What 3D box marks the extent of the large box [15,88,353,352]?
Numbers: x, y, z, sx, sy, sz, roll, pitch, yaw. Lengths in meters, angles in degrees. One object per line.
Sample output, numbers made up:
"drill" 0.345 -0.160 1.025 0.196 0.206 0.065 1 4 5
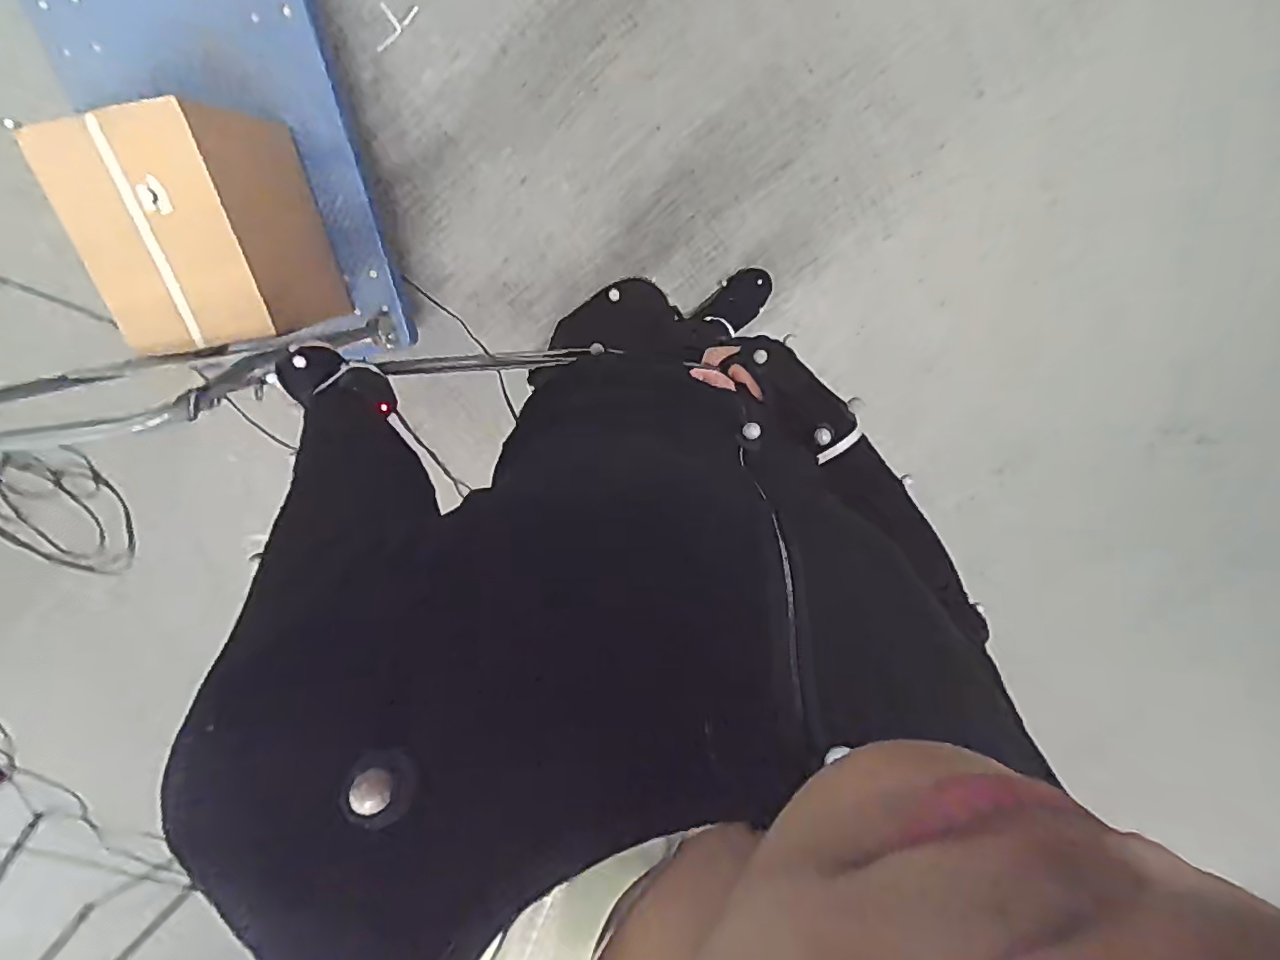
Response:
"large box" -0.882 -0.512 1.121 0.320 0.320 0.408 -7 114 5
